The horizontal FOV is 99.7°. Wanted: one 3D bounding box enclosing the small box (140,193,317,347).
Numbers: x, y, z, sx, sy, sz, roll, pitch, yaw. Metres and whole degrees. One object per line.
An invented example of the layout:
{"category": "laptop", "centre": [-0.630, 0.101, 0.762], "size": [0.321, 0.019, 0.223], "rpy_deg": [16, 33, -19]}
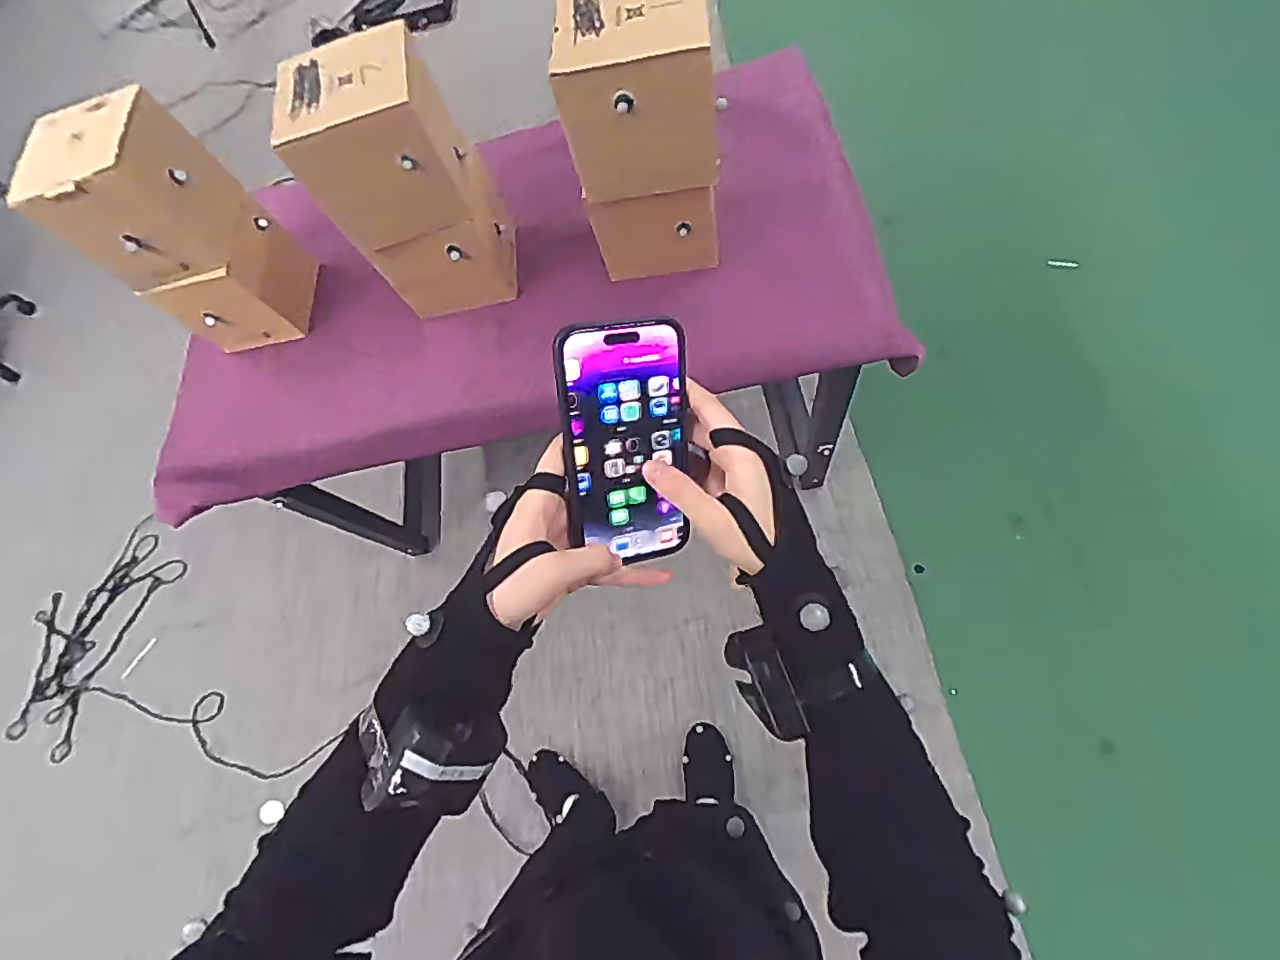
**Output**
{"category": "small box", "centre": [-0.696, -0.351, 0.938], "size": [0.168, 0.176, 0.179], "rpy_deg": [-9, 68, 9]}

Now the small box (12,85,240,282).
{"category": "small box", "centre": [-0.730, -0.416, 0.791], "size": [0.168, 0.176, 0.179], "rpy_deg": [-14, 68, 6]}

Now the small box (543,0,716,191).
{"category": "small box", "centre": [-0.003, -0.487, 0.663], "size": [0.179, 0.176, 0.168], "rpy_deg": [-4, 68, 10]}

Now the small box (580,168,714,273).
{"category": "small box", "centre": [0.020, -0.442, 0.820], "size": [0.179, 0.176, 0.168], "rpy_deg": [-4, 68, 11]}

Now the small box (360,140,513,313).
{"category": "small box", "centre": [-0.314, -0.398, 0.872], "size": [0.179, 0.176, 0.168], "rpy_deg": [-10, 67, 8]}
